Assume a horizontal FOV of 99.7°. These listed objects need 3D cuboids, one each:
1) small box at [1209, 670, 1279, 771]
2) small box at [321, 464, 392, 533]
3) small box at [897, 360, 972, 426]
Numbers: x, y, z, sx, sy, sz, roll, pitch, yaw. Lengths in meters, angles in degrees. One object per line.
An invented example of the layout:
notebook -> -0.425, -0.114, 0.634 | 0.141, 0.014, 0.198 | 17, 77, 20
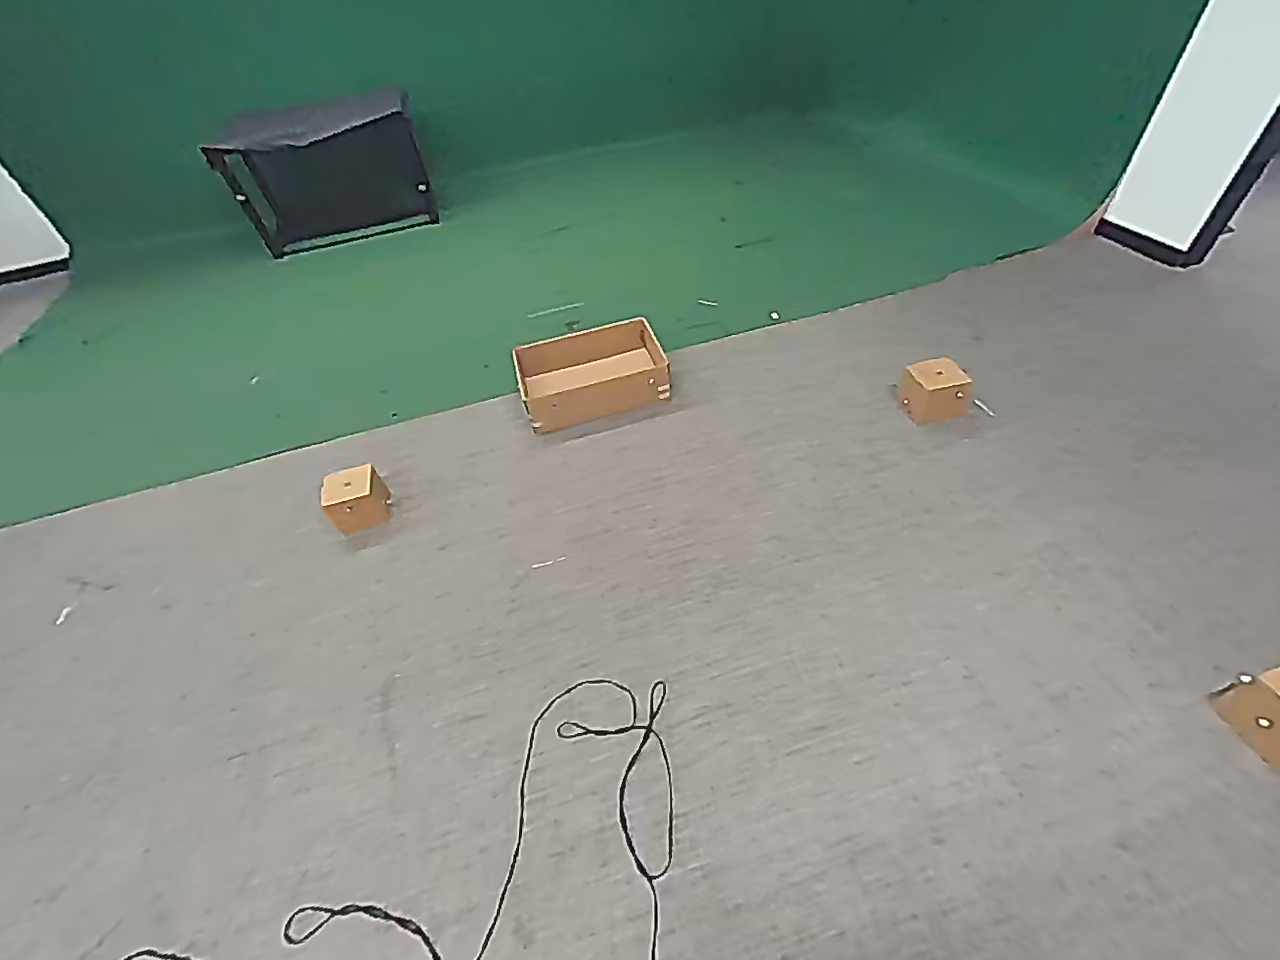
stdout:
small box -> 1.482, 0.540, 1.220 | 0.168, 0.176, 0.179 | -15, 47, -6
small box -> -1.052, 0.073, 2.018 | 0.179, 0.176, 0.168 | -16, 49, -8
small box -> 1.119, -0.331, 2.072 | 0.179, 0.176, 0.168 | -12, 46, -3
